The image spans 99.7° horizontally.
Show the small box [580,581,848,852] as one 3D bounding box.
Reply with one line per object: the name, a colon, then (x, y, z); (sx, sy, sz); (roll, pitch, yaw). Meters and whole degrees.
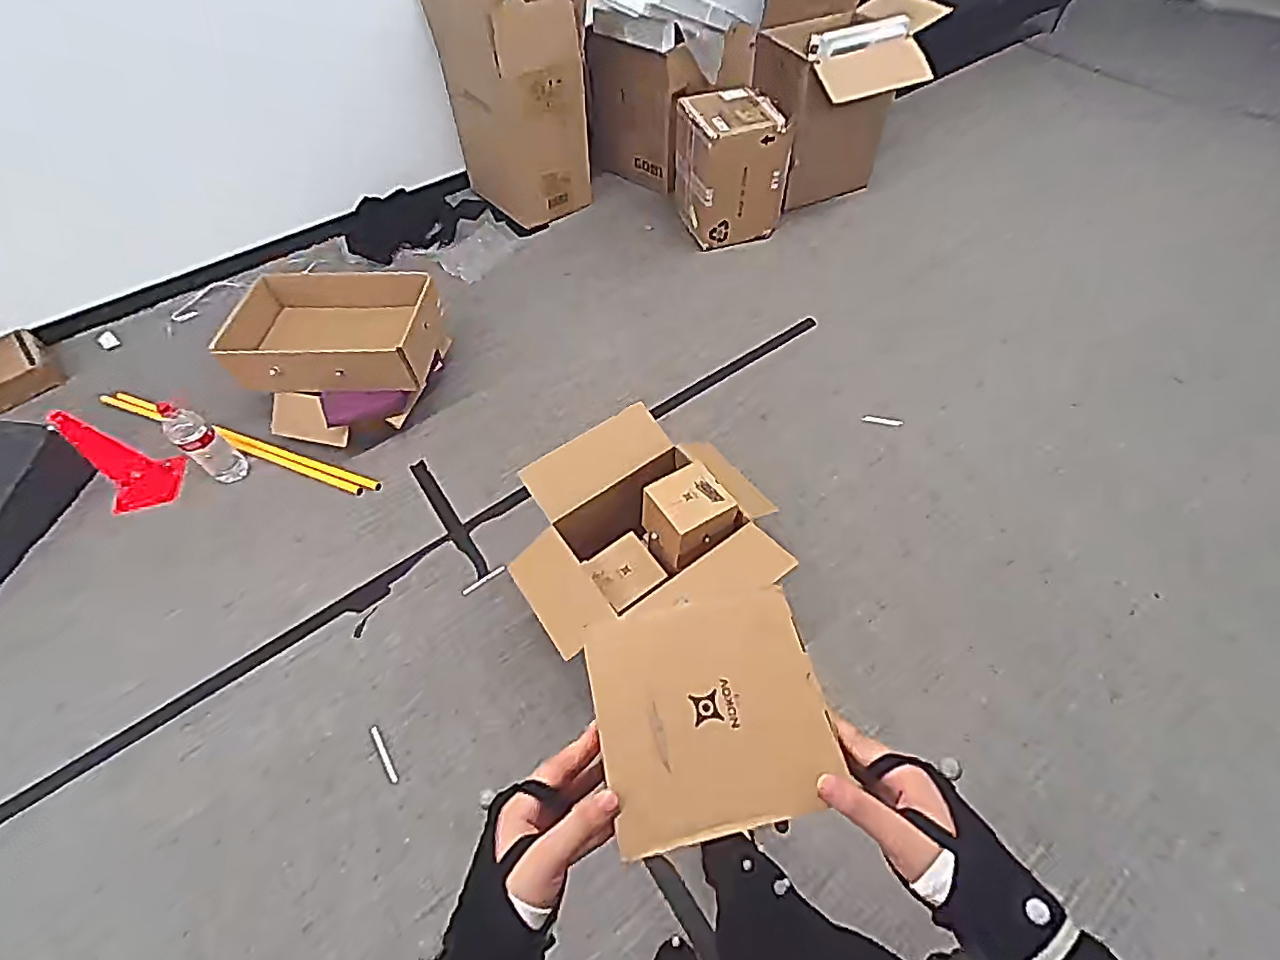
small box: (0.050, 0.210, 0.489); (0.179, 0.176, 0.168); (-12, 61, -6)
